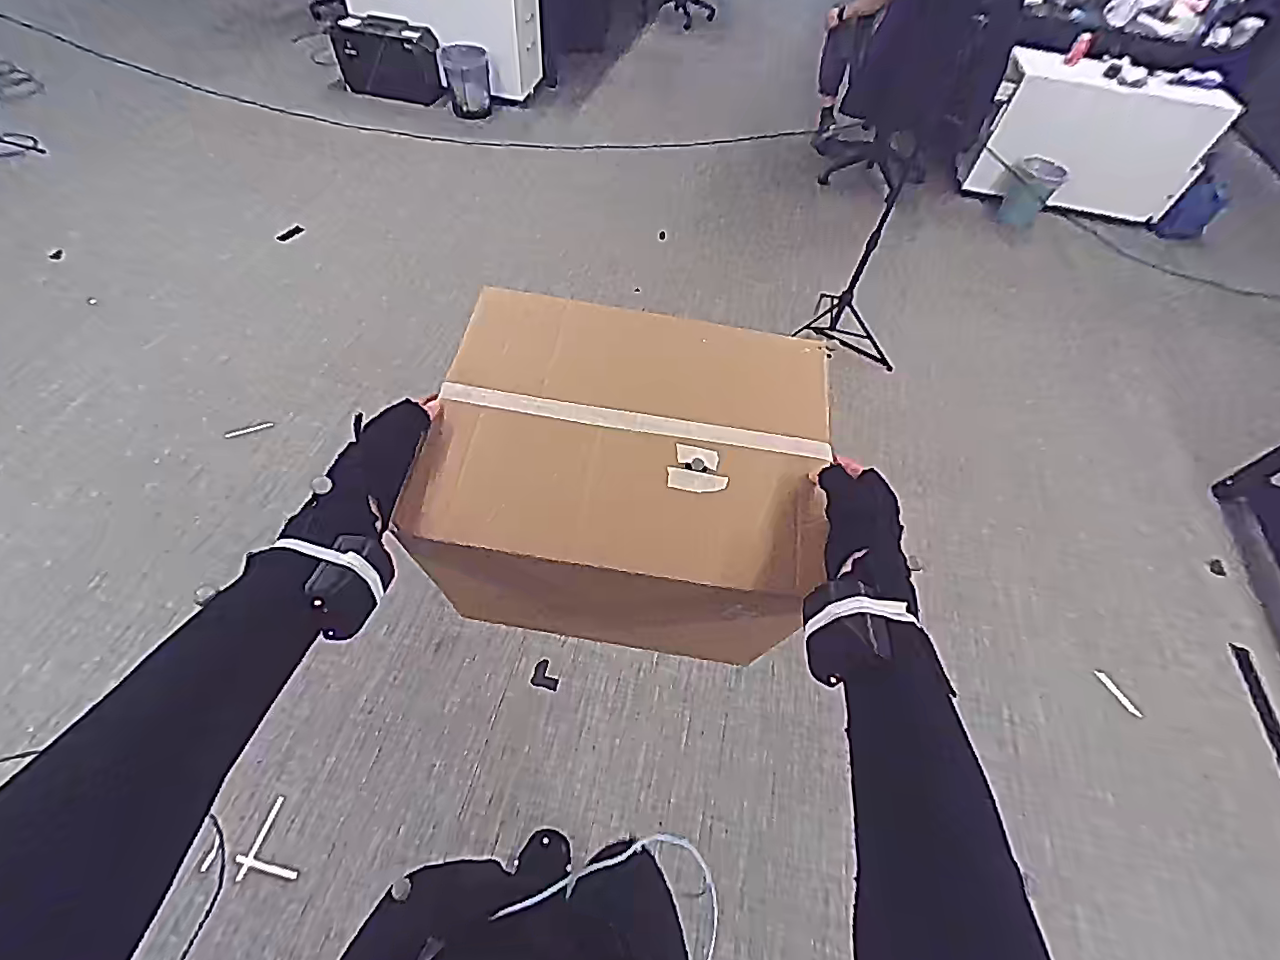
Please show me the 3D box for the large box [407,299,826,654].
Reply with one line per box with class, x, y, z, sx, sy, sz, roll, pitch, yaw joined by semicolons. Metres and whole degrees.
large box;-0.018;0.016;0.702;0.408;0.320;0.320;10;62;-1
